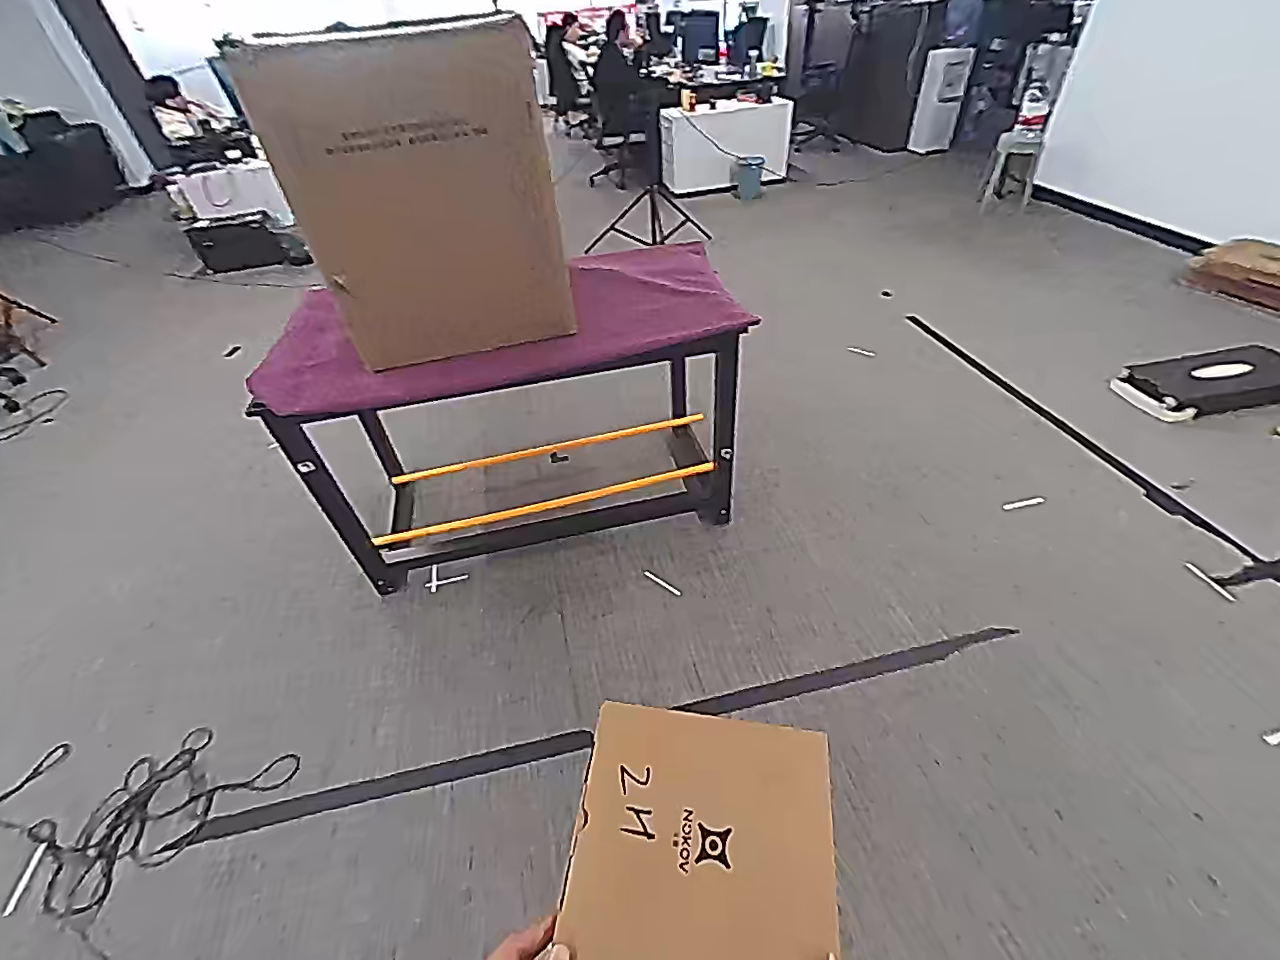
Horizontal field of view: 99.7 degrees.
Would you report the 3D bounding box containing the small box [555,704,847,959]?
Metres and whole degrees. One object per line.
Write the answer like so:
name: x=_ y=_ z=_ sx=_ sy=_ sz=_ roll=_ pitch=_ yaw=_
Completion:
small box: x=0.050 y=0.297 z=0.423 sx=0.179 sy=0.176 sz=0.168 roll=4 pitch=48 yaw=9
